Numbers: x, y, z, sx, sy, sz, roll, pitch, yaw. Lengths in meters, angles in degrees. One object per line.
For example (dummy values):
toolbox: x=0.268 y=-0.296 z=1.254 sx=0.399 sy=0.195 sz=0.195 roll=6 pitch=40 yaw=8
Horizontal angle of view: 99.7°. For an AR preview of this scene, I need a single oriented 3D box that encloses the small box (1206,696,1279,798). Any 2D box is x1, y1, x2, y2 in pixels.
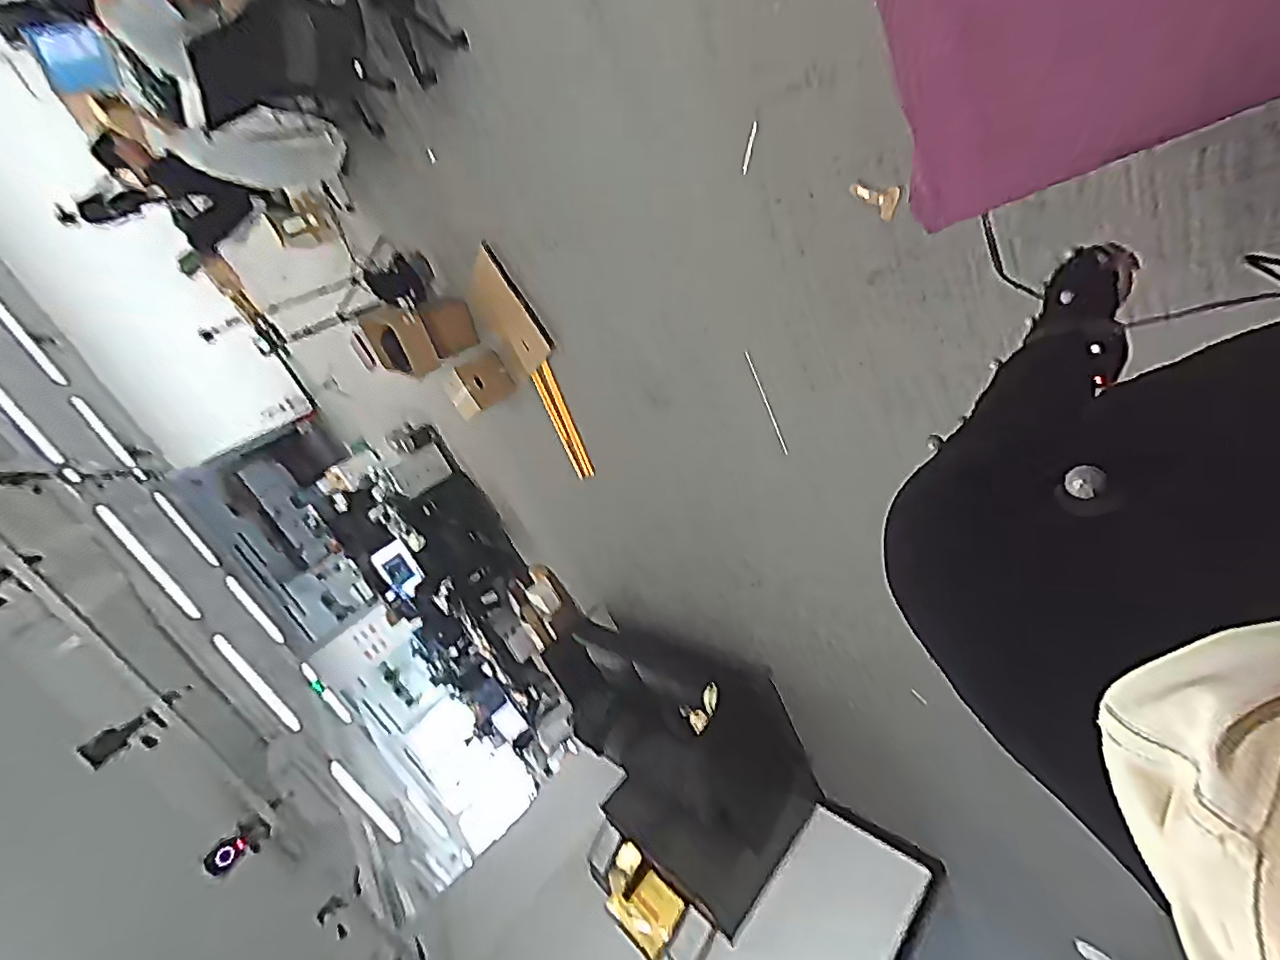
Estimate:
small box: x=1.713 y=0.737 z=1.499 sx=0.179 sy=0.176 sz=0.168 roll=6 pitch=127 yaw=54
